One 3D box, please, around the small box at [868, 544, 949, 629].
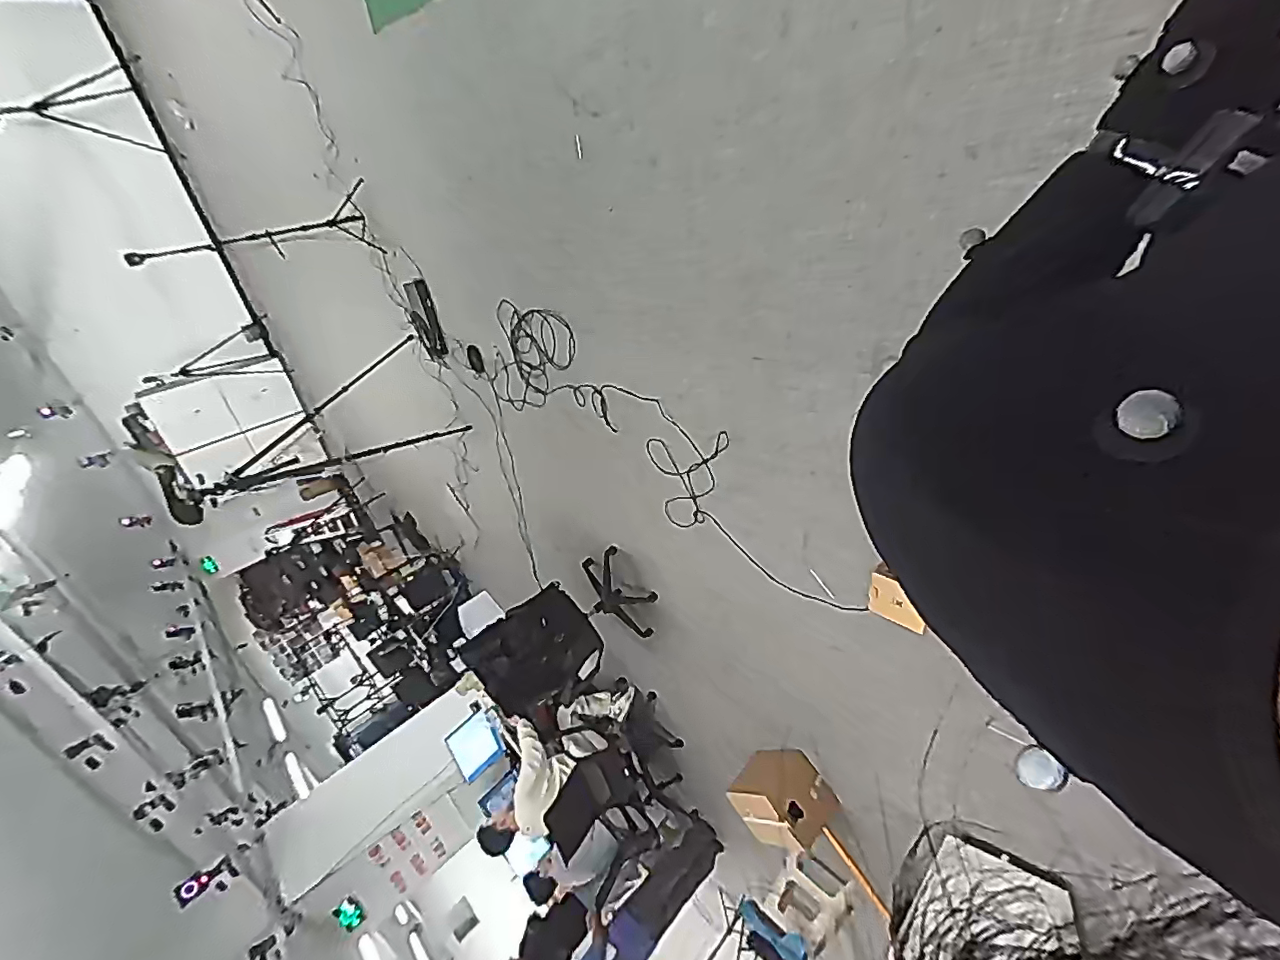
[{"bbox_3d":[0.850,0.328,1.711,0.179,0.176,0.168,23,134,42],"label":"small box"}]
